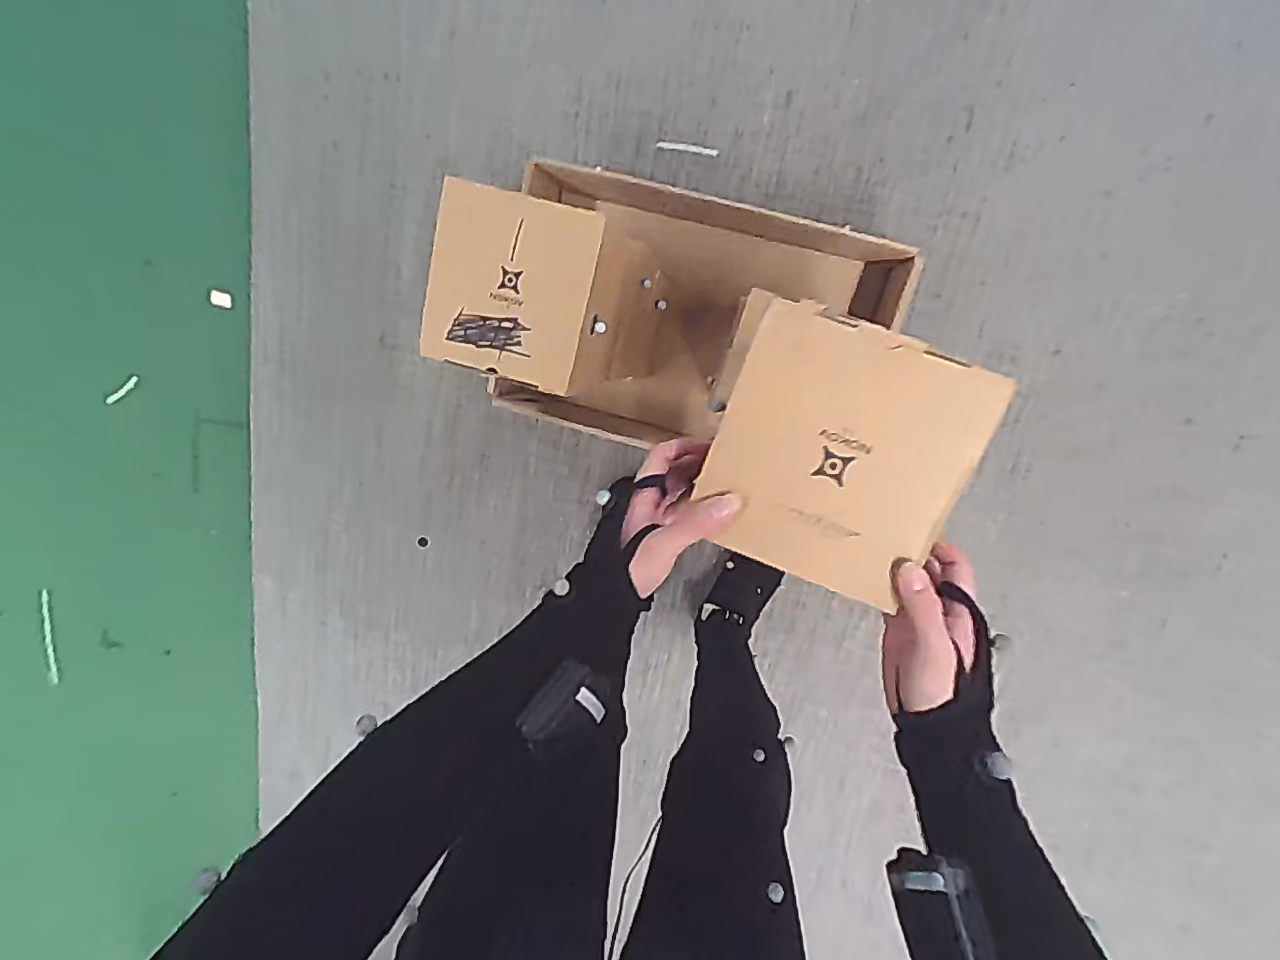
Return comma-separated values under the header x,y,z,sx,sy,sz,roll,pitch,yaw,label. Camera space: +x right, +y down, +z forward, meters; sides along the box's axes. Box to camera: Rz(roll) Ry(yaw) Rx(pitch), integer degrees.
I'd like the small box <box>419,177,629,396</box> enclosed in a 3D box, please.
x,y,z,sx,sy,sz,roll,pitch,yaw,label
-0.118,-0.204,0.607,0.168,0.176,0.179,16,104,5,small box

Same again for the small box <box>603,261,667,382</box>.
x,y,z,sx,sy,sz,roll,pitch,yaw,label
-0.056,-0.276,0.921,0.168,0.176,0.179,17,105,6,small box

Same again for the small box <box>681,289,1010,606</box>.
x,y,z,sx,sy,sz,roll,pitch,yaw,label
0.146,-0.033,0.446,0.168,0.176,0.179,22,104,7,small box

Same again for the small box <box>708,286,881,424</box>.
x,y,z,sx,sy,sz,roll,pitch,yaw,label
0.198,-0.145,0.739,0.168,0.176,0.179,19,106,5,small box
